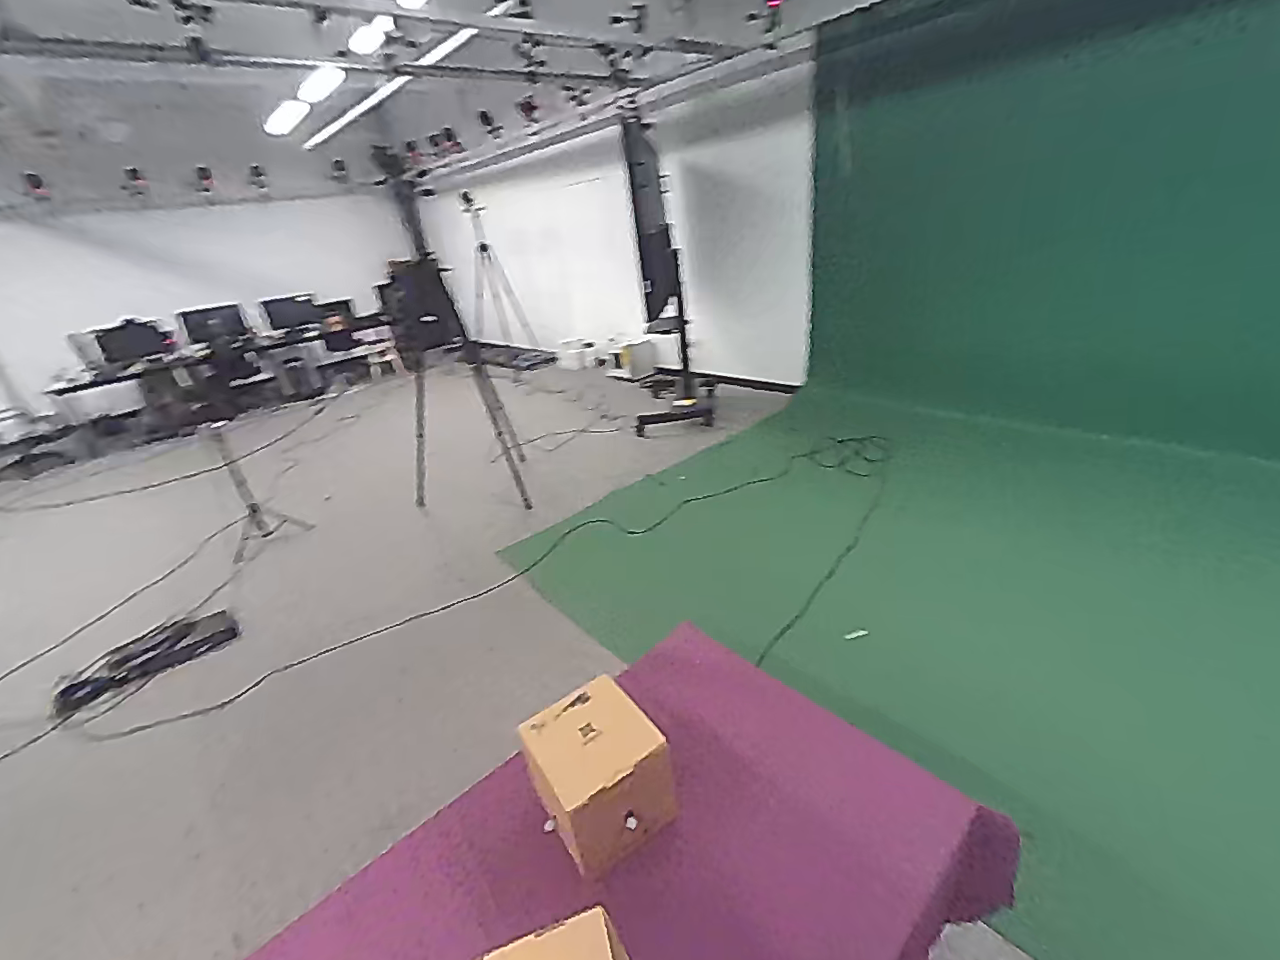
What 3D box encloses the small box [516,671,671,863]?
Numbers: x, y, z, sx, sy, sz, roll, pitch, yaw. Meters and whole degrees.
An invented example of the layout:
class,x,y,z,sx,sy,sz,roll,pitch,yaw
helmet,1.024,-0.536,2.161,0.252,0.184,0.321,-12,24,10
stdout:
class,x,y,z,sx,sy,sz,roll,pitch,yaw
small box,-0.068,0.445,0.838,0.168,0.176,0.179,-22,30,-28
